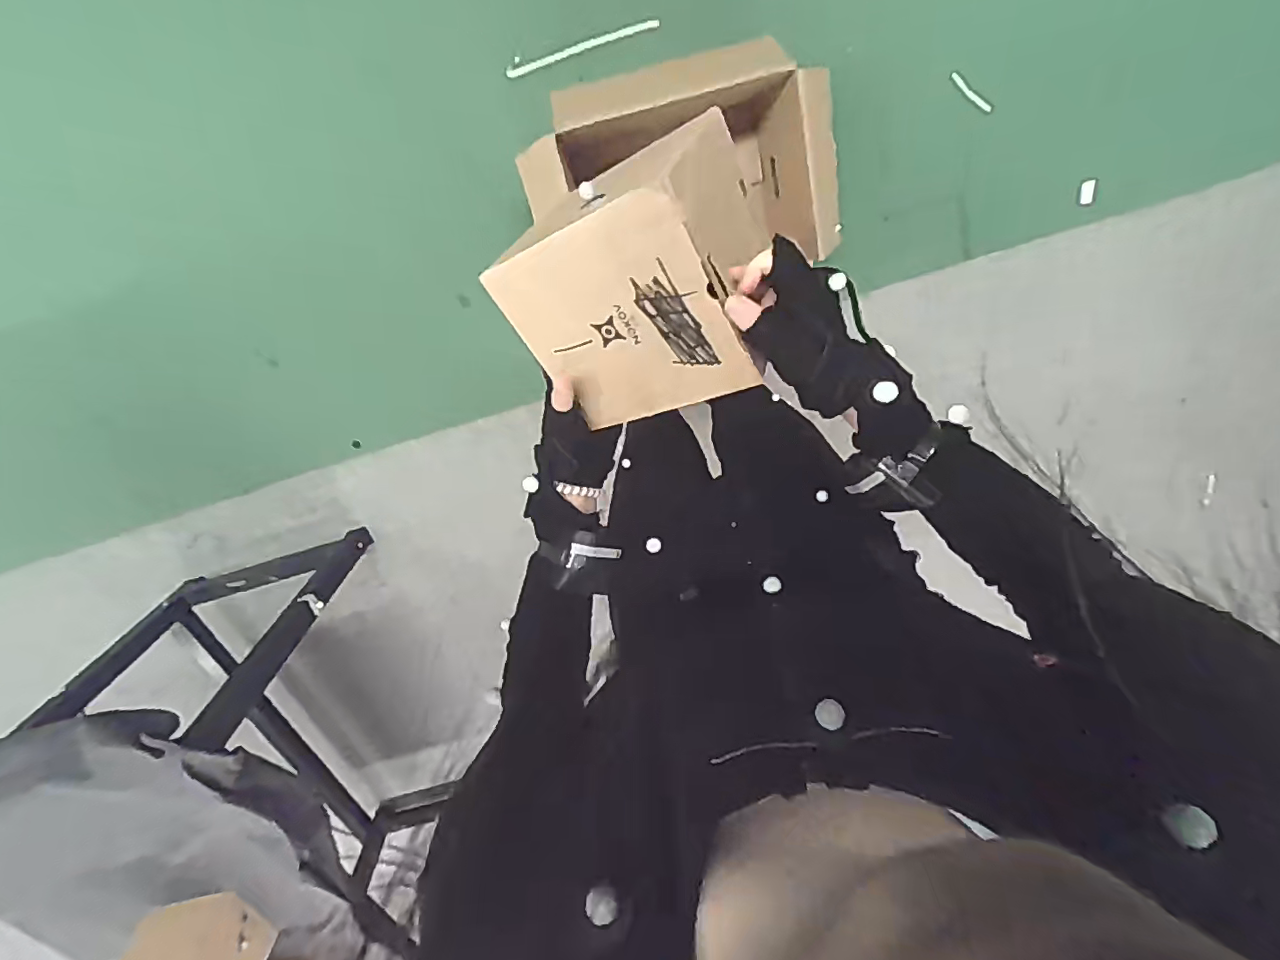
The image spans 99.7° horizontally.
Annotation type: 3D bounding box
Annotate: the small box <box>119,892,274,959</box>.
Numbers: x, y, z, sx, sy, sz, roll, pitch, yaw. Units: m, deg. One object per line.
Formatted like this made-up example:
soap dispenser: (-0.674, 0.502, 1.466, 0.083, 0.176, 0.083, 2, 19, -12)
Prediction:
small box: (-0.830, 0.902, 0.991, 0.179, 0.176, 0.168, -15, 117, 4)

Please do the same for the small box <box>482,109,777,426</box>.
small box: (0.008, -0.175, 0.463, 0.179, 0.176, 0.168, -9, 132, 34)
